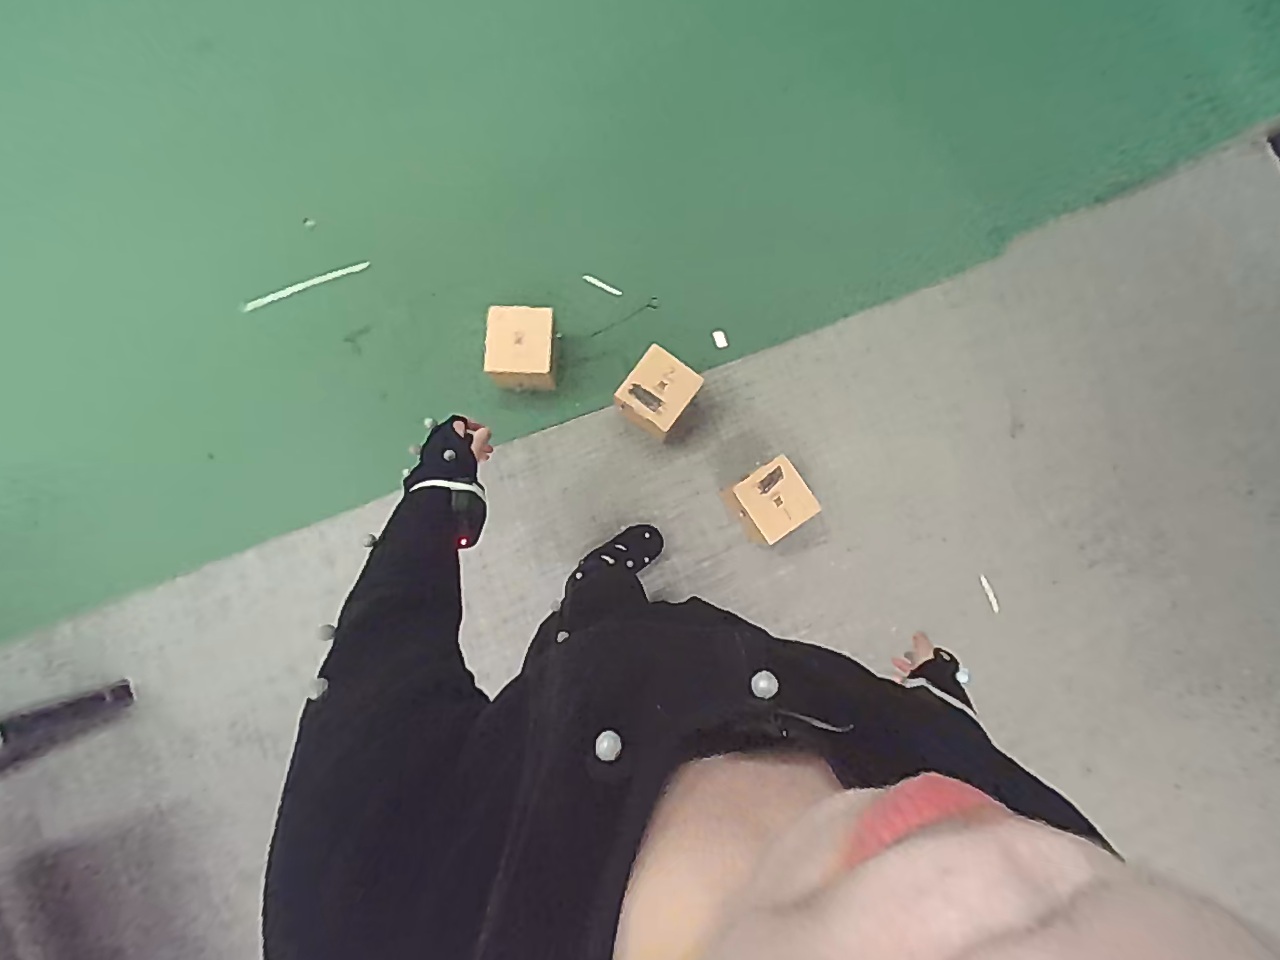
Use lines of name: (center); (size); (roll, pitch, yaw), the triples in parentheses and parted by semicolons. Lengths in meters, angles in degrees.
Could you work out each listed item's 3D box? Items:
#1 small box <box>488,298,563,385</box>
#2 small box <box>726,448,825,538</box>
small box: (-0.302, -0.368, 1.459); (0.168, 0.176, 0.179); (3, 84, -1)
small box: (0.347, 0.041, 1.428); (0.168, 0.176, 0.179); (-33, 87, -4)
